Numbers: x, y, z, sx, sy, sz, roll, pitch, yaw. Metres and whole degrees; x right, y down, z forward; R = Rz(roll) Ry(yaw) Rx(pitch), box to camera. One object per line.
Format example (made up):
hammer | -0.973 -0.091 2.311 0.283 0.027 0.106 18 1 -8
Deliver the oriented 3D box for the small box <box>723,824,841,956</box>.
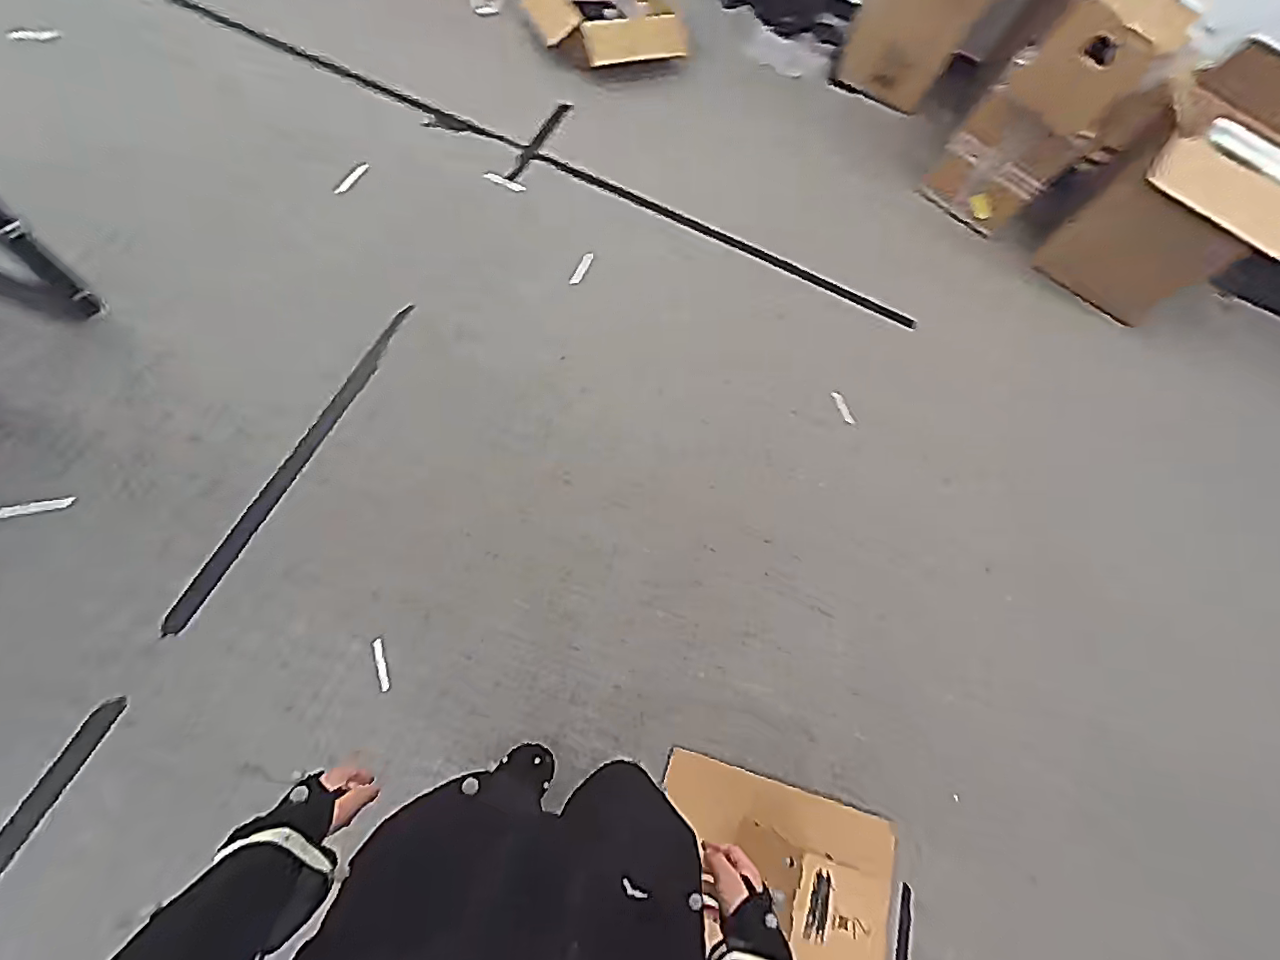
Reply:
small box | 0.304 0.883 1.186 0.179 0.176 0.168 25 65 -2
